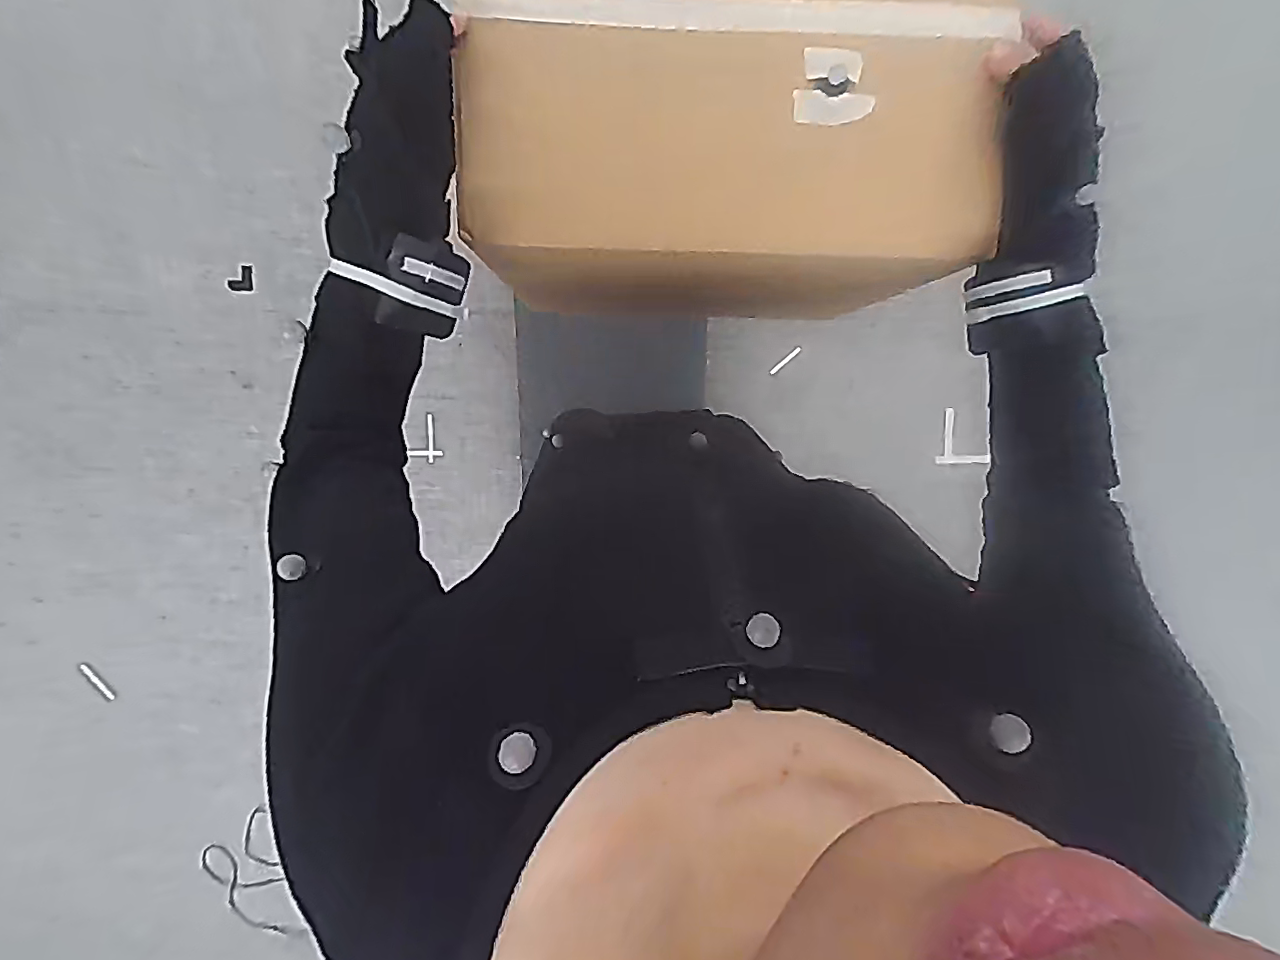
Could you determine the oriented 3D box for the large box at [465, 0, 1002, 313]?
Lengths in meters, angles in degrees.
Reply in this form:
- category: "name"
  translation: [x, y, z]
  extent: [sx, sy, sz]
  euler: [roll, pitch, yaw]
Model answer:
- category: "large box"
  translation: [0.062, -0.353, 0.545]
  extent: [0.408, 0.320, 0.320]
  euler: [0, 98, -3]
